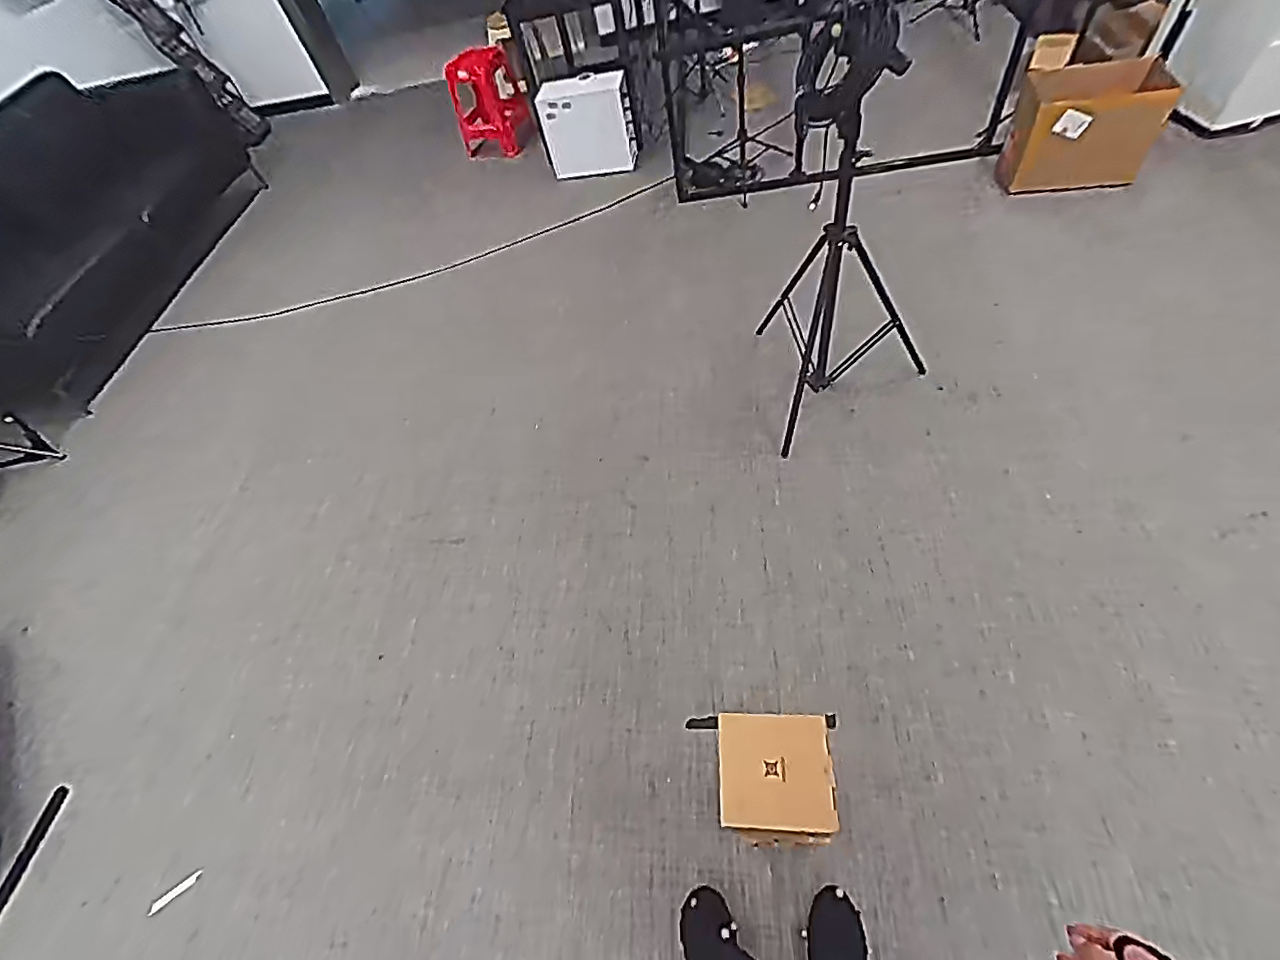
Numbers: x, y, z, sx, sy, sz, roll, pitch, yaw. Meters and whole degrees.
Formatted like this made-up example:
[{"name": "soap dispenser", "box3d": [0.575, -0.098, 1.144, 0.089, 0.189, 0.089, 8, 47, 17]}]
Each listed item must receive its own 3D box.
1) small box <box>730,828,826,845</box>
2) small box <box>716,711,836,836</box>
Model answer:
[{"name": "small box", "box3d": [0.264, 0.593, 1.047, 0.168, 0.176, 0.179, 0, 55, 12]}, {"name": "small box", "box3d": [0.225, 0.500, 0.919, 0.179, 0.176, 0.168, -3, 55, 10]}]
